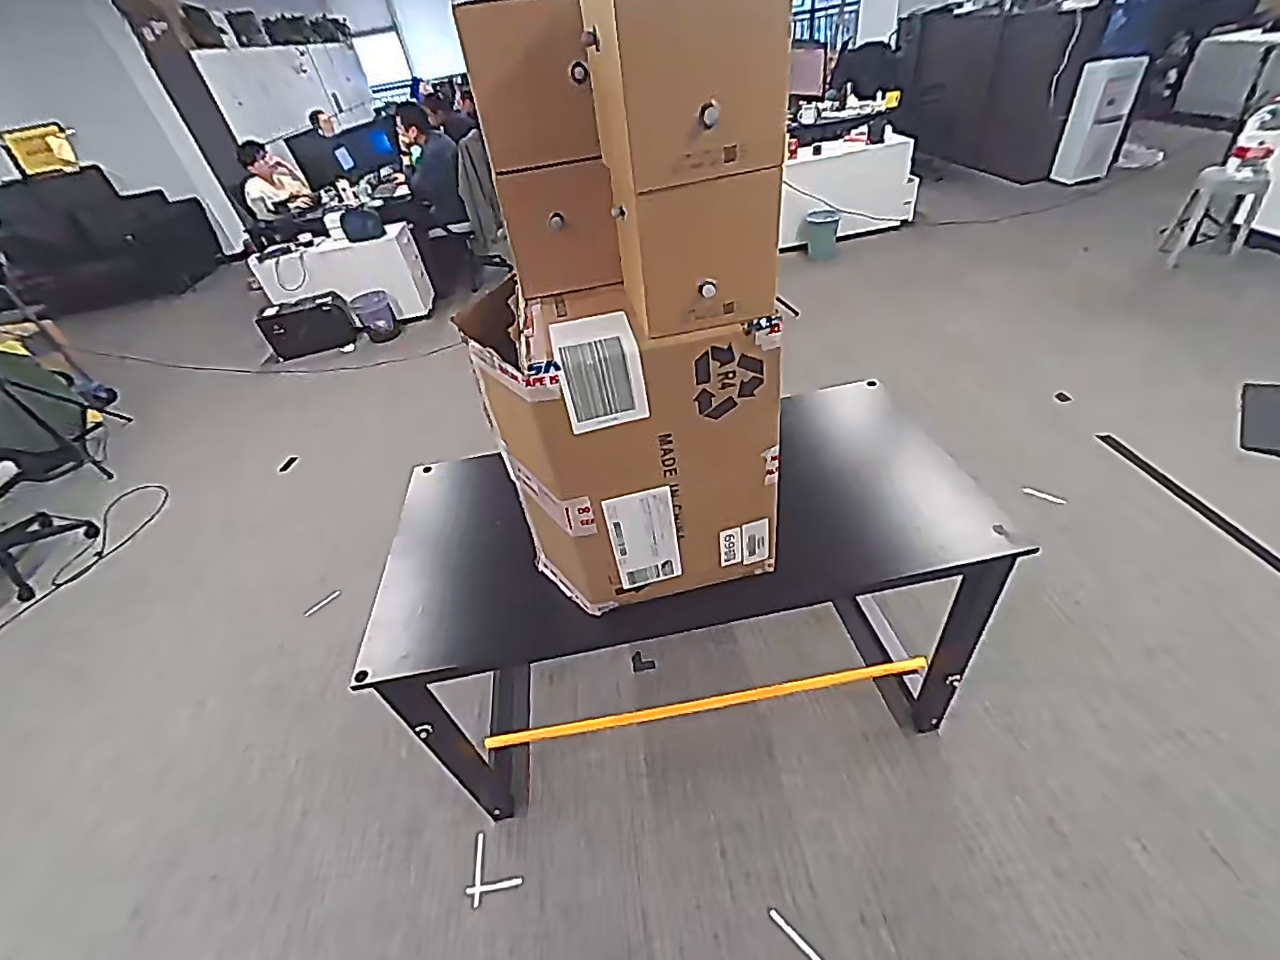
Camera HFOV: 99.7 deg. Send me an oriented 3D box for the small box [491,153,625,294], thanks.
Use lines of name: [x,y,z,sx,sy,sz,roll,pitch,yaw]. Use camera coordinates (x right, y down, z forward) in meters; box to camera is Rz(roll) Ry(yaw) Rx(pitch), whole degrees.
small box: [-0.112,-0.395,0.818,0.179,0.176,0.168,-13,39,-4]

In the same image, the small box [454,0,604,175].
small box: [-0.130,-0.520,0.714,0.179,0.176,0.168,-15,38,-7]

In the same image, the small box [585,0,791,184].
small box: [0.043,-0.428,0.571,0.168,0.176,0.179,-14,41,-6]

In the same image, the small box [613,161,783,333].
small box: [0.065,-0.306,0.680,0.168,0.176,0.179,-12,42,-4]
